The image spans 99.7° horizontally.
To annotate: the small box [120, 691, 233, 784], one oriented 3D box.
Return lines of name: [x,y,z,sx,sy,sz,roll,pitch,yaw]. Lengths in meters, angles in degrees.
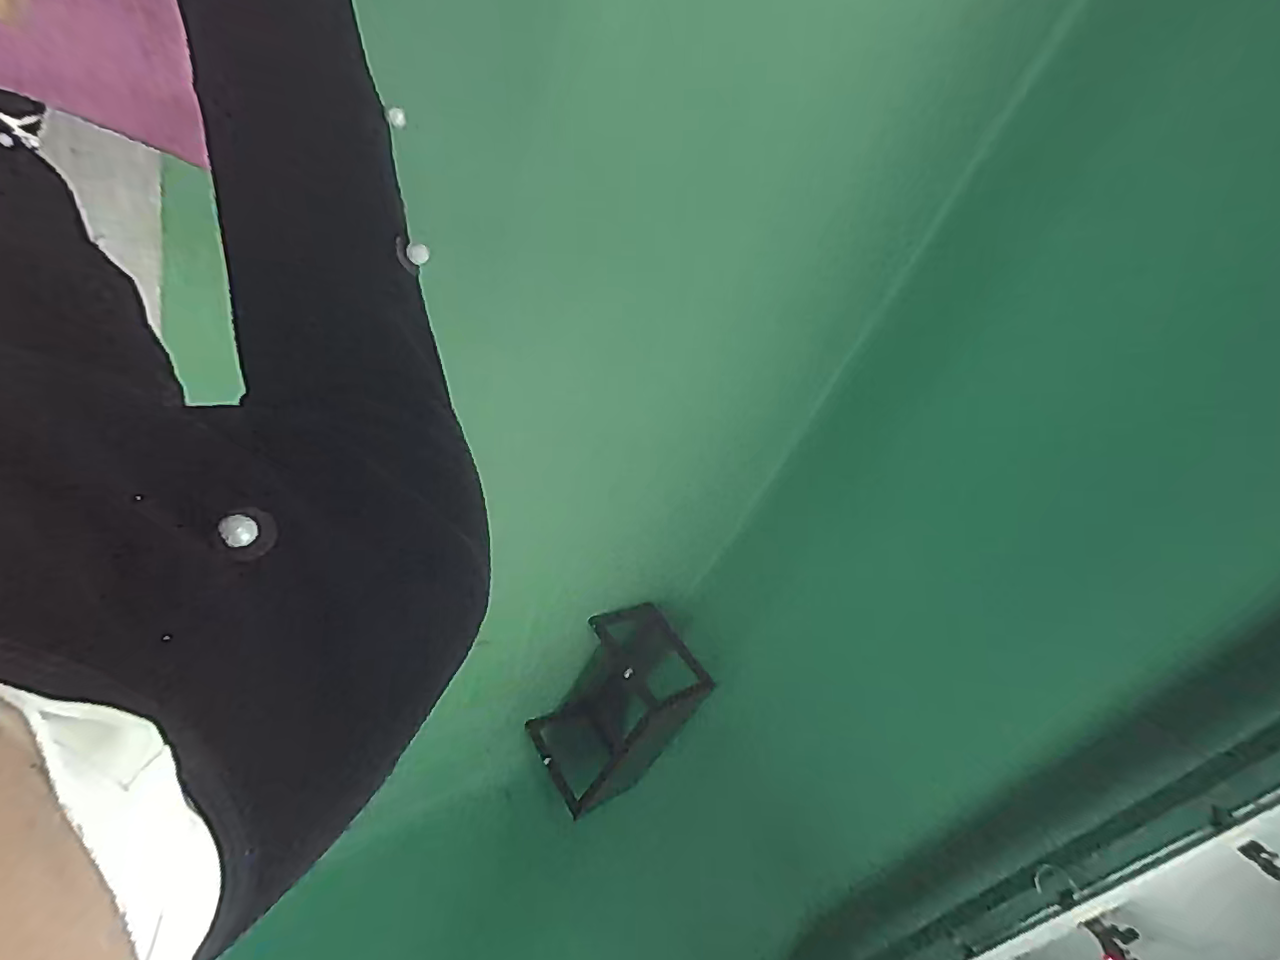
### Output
small box: [-1.283,0.708,1.494,0.168,0.176,0.179,-40,148,-4]
